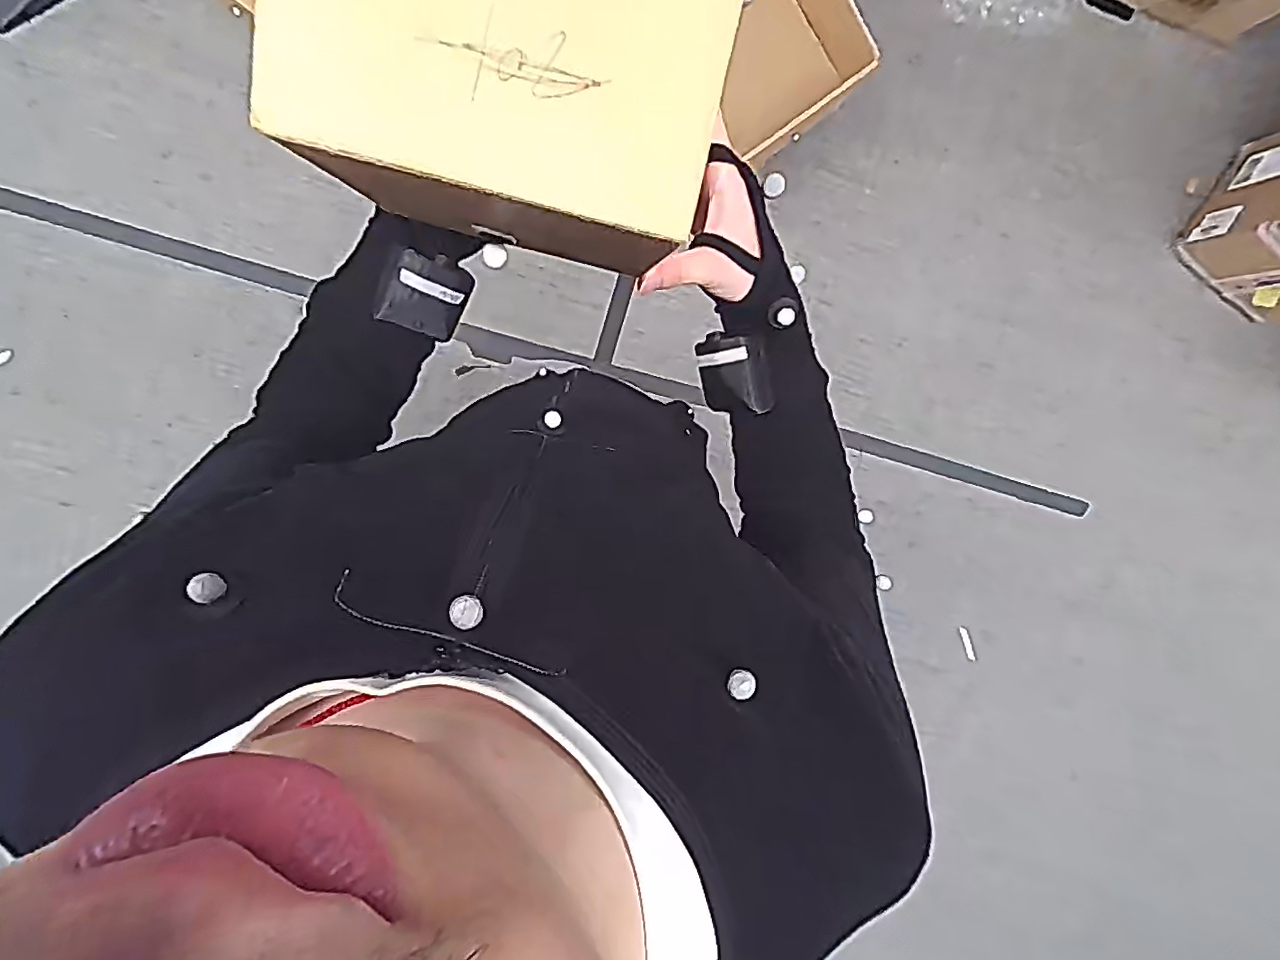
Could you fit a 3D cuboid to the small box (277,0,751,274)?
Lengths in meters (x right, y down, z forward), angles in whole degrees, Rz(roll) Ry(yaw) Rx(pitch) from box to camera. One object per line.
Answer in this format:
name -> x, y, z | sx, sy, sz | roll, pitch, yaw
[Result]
small box -> -0.047, -0.219, 0.273 | 0.168, 0.176, 0.179 | 12, 105, -10
